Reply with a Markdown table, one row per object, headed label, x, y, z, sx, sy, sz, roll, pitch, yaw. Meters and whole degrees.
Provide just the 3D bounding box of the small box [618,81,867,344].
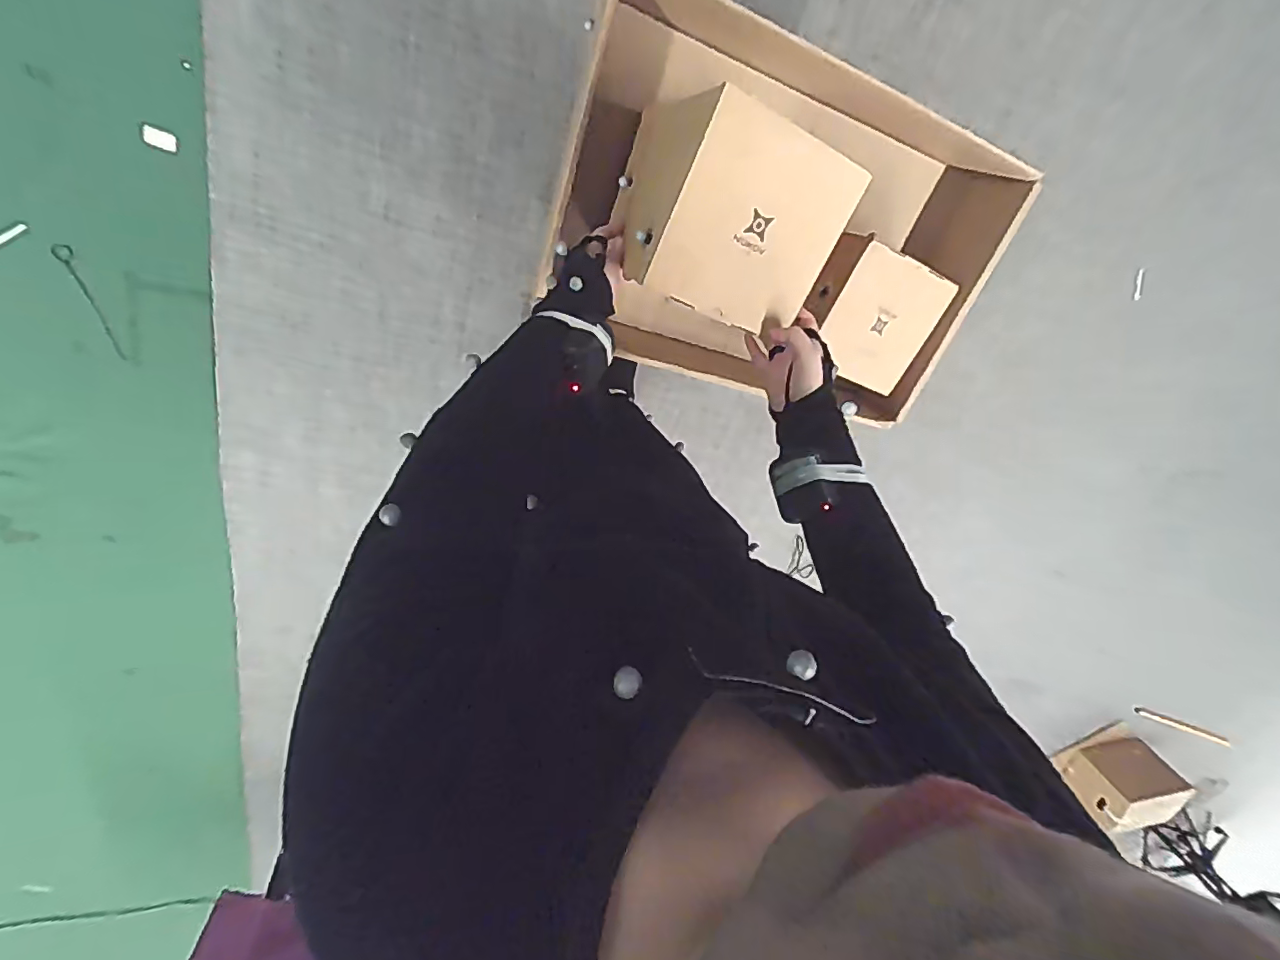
| label | x | y | z | sx | sy | sz | roll | pitch | yaw |
| --- | --- | --- | --- | --- | --- | --- | --- | --- | --- |
| small box | 0.089 | -0.274 | 0.568 | 0.168 | 0.176 | 0.179 | 16 | 116 | -22 |
